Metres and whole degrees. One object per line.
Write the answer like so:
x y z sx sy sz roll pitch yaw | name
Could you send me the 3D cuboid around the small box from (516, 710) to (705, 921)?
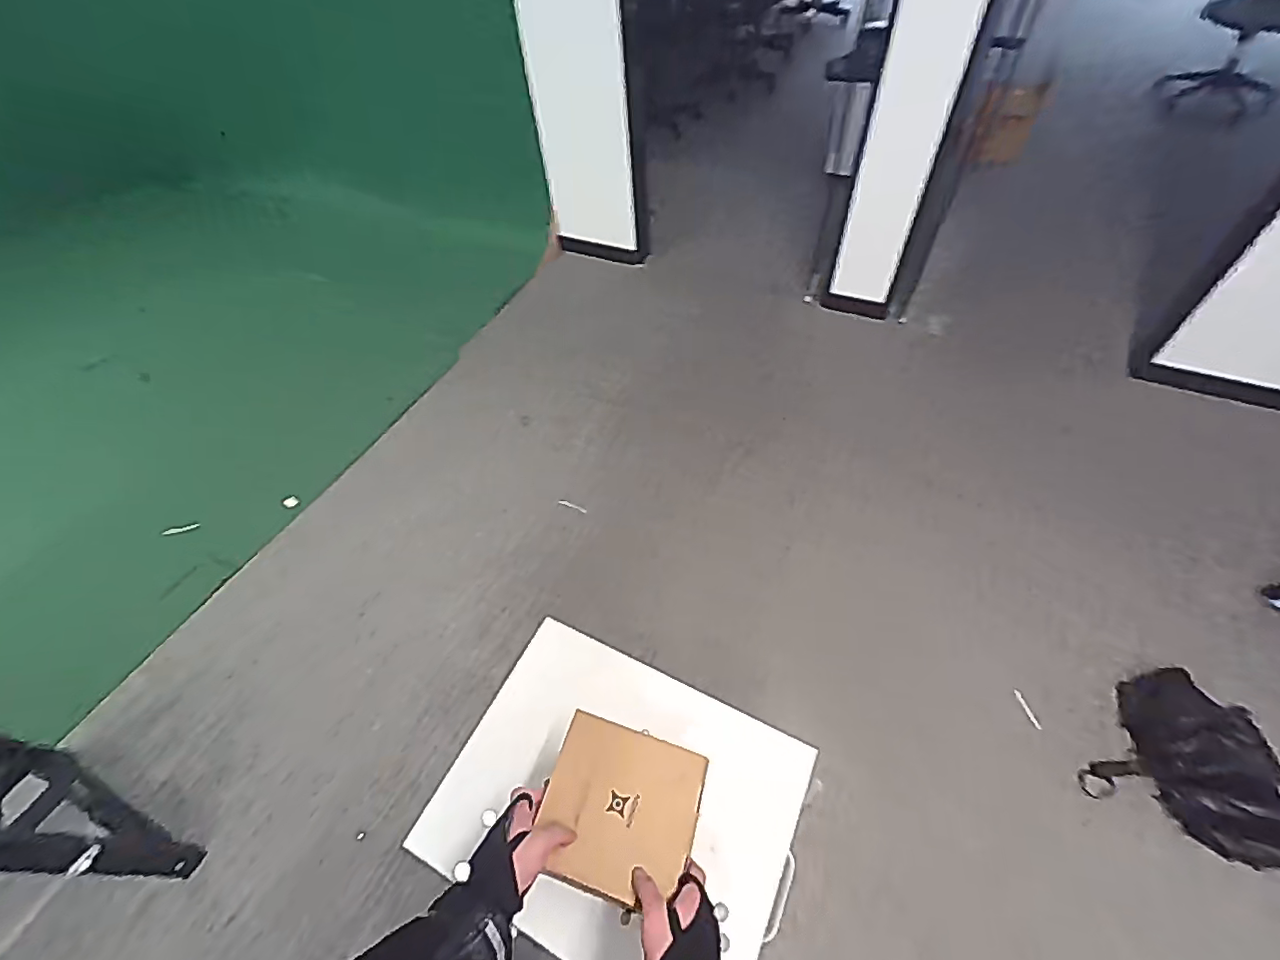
-0.032 0.414 0.671 0.179 0.176 0.168 15 51 7 | small box
